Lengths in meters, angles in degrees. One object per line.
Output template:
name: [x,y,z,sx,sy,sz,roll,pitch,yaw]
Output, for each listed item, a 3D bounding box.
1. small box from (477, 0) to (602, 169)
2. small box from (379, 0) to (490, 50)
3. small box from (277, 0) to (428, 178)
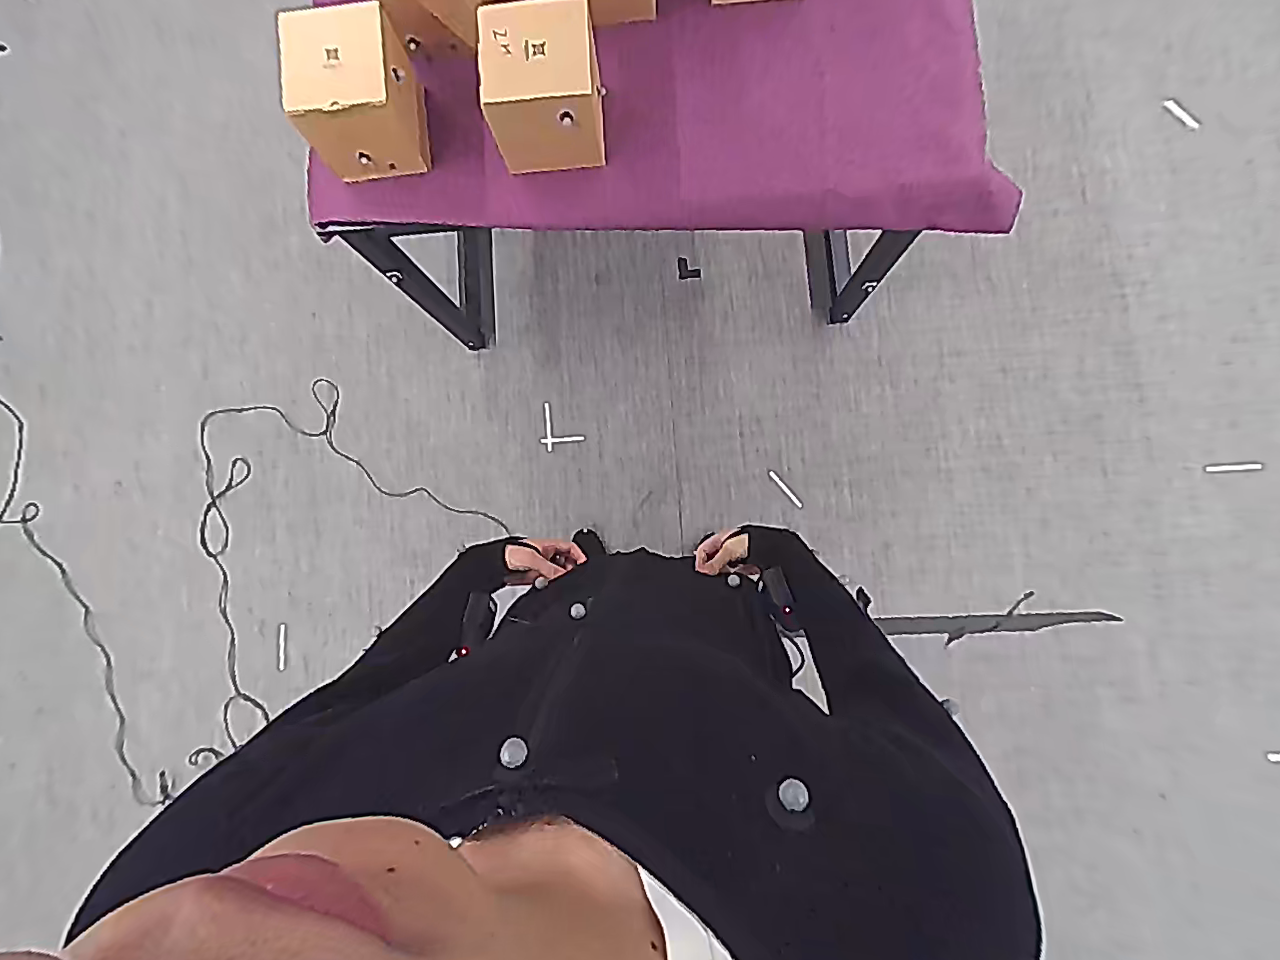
small box: [-0.157,-0.651,0.901,0.179,0.176,0.168,-3,85,4]
small box: [-0.365,-0.890,0.935,0.168,0.176,0.179,3,85,3]
small box: [-0.479,-0.655,0.920,0.168,0.176,0.179,-7,85,1]
